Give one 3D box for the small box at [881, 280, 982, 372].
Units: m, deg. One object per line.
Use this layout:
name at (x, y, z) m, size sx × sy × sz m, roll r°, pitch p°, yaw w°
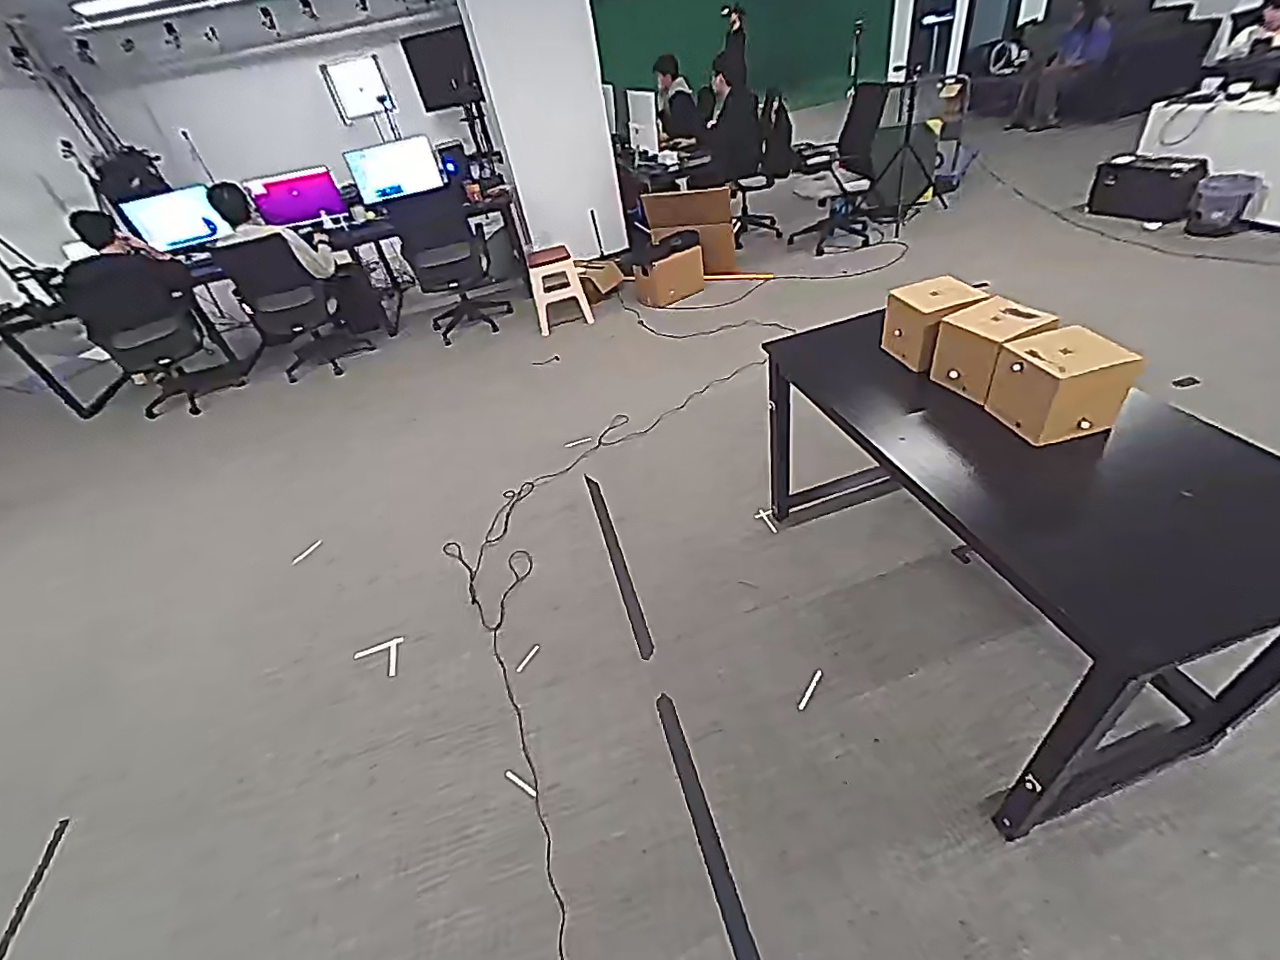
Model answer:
small box at (0.765, -0.409, 1.443) m, size 0.179 × 0.176 × 0.168 m, roll -16°, pitch 39°, yaw -4°
